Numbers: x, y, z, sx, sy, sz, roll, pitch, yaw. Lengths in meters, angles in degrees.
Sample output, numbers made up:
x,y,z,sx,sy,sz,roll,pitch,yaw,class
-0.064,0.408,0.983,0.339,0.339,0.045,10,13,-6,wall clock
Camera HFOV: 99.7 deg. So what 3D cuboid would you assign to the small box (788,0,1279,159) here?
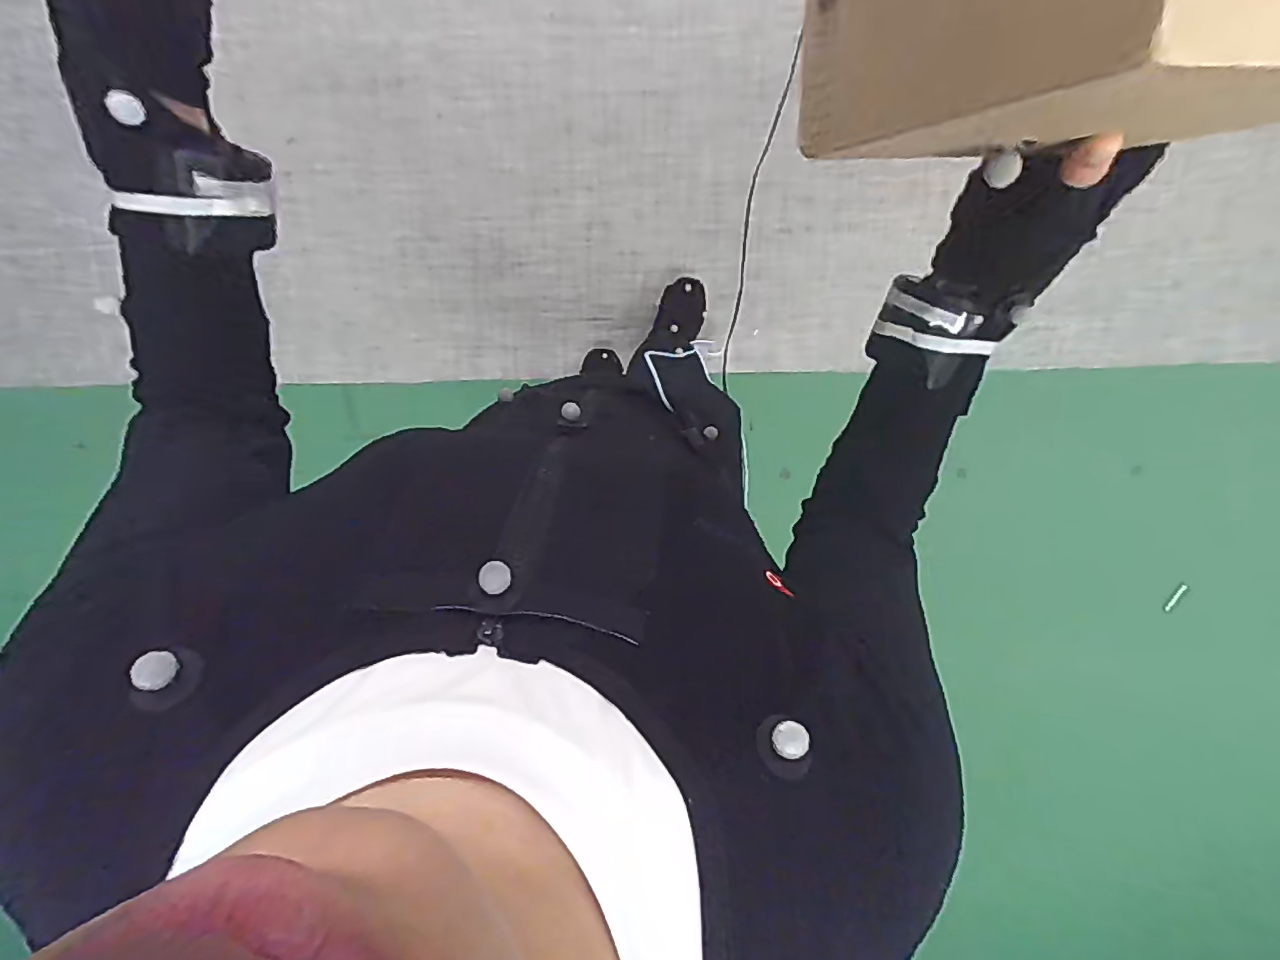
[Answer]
x,y,z,sx,sy,sz,roll,pitch,yaw,class
0.175,-0.215,0.182,0.179,0.176,0.168,-9,115,-12,small box
